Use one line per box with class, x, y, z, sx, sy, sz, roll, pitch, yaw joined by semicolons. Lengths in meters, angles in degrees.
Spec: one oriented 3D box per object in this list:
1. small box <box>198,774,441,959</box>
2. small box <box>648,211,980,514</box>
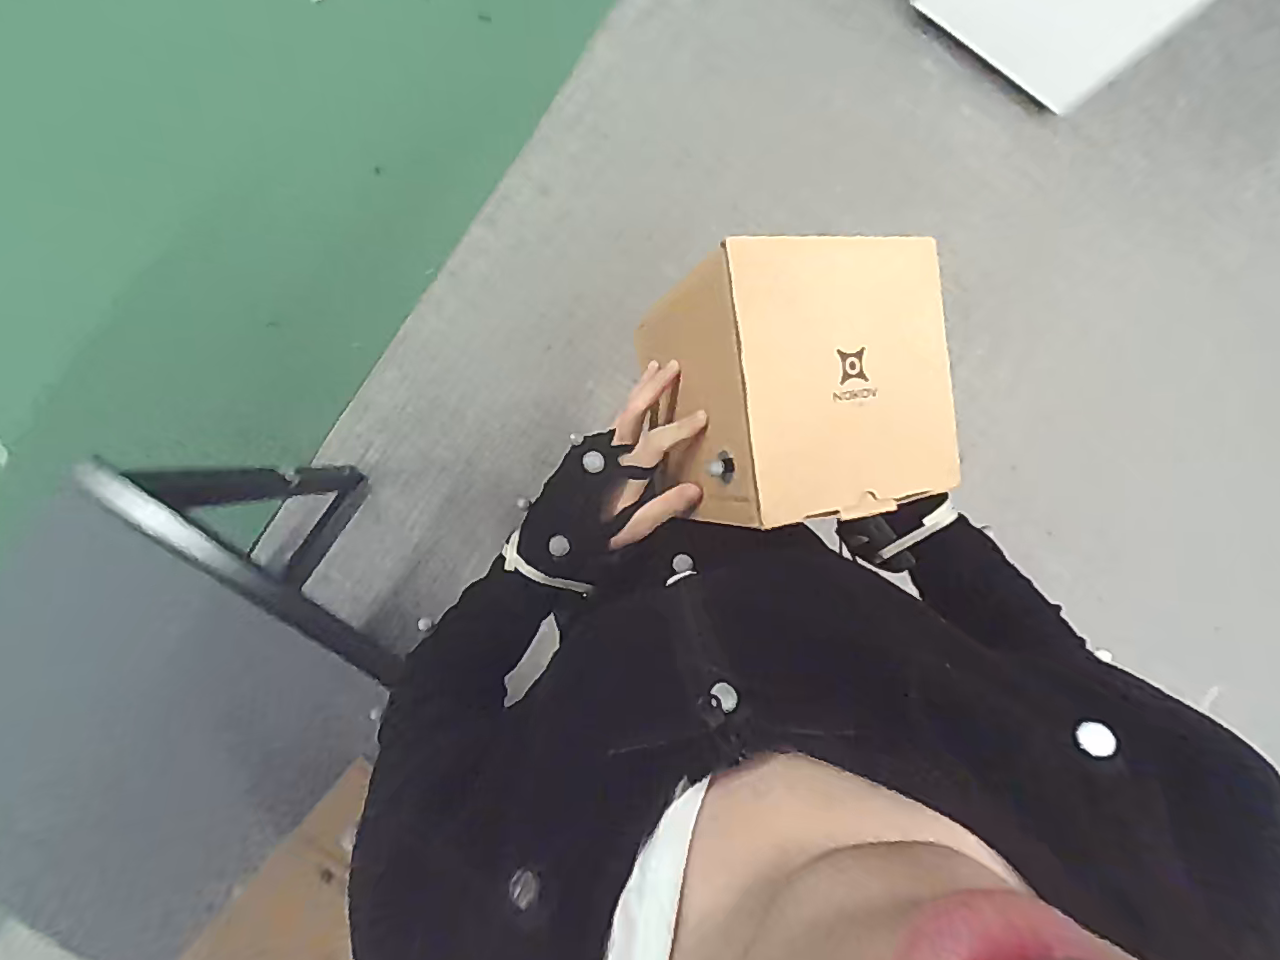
small box;-0.378;0.517;0.668;0.168;0.176;0.179;37;90;-3
small box;0.113;-0.072;0.406;0.168;0.176;0.179;-7;92;-19
